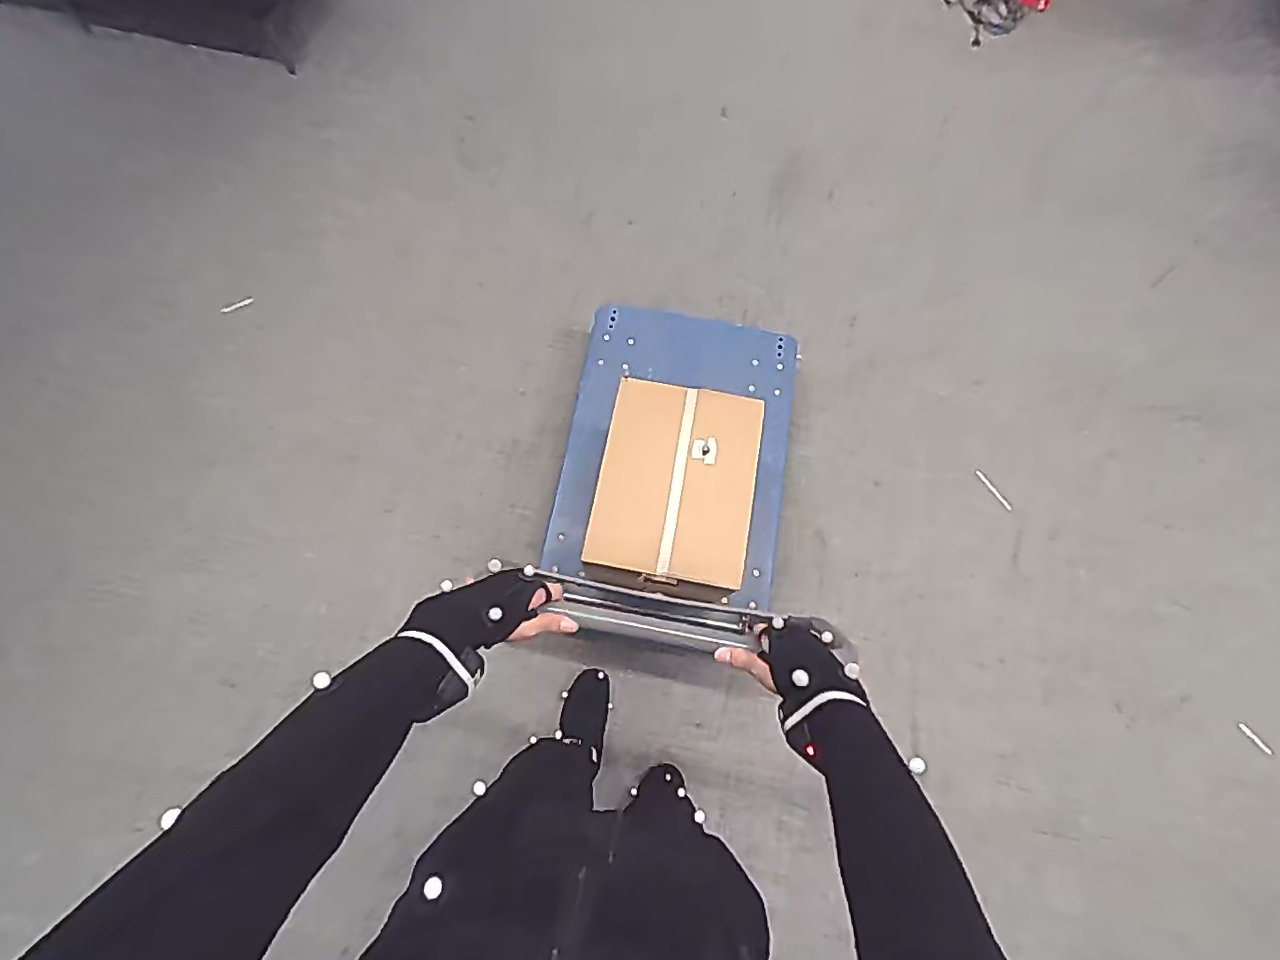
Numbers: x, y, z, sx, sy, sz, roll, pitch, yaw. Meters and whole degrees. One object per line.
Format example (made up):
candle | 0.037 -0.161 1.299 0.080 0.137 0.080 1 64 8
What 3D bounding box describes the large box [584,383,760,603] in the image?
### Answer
large box | 0.073 0.046 1.232 0.320 0.320 0.408 10 72 2
